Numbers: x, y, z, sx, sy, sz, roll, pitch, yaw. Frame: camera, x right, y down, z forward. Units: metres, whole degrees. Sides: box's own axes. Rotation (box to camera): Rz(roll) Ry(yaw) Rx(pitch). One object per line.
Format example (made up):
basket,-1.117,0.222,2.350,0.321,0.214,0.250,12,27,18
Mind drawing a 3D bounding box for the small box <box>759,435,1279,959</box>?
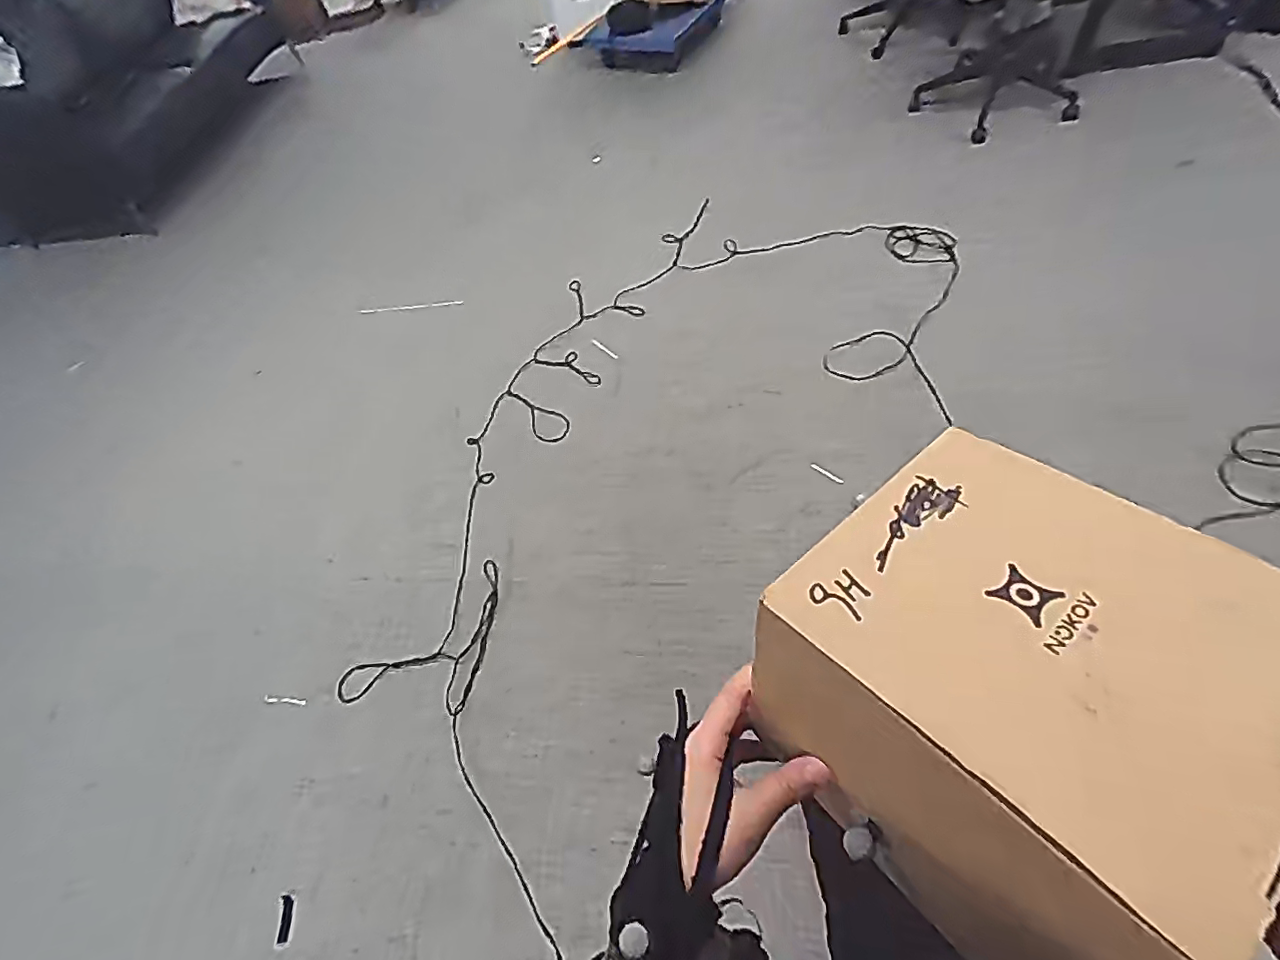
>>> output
small box,0.183,0.114,0.288,0.168,0.176,0.179,-33,50,-22
